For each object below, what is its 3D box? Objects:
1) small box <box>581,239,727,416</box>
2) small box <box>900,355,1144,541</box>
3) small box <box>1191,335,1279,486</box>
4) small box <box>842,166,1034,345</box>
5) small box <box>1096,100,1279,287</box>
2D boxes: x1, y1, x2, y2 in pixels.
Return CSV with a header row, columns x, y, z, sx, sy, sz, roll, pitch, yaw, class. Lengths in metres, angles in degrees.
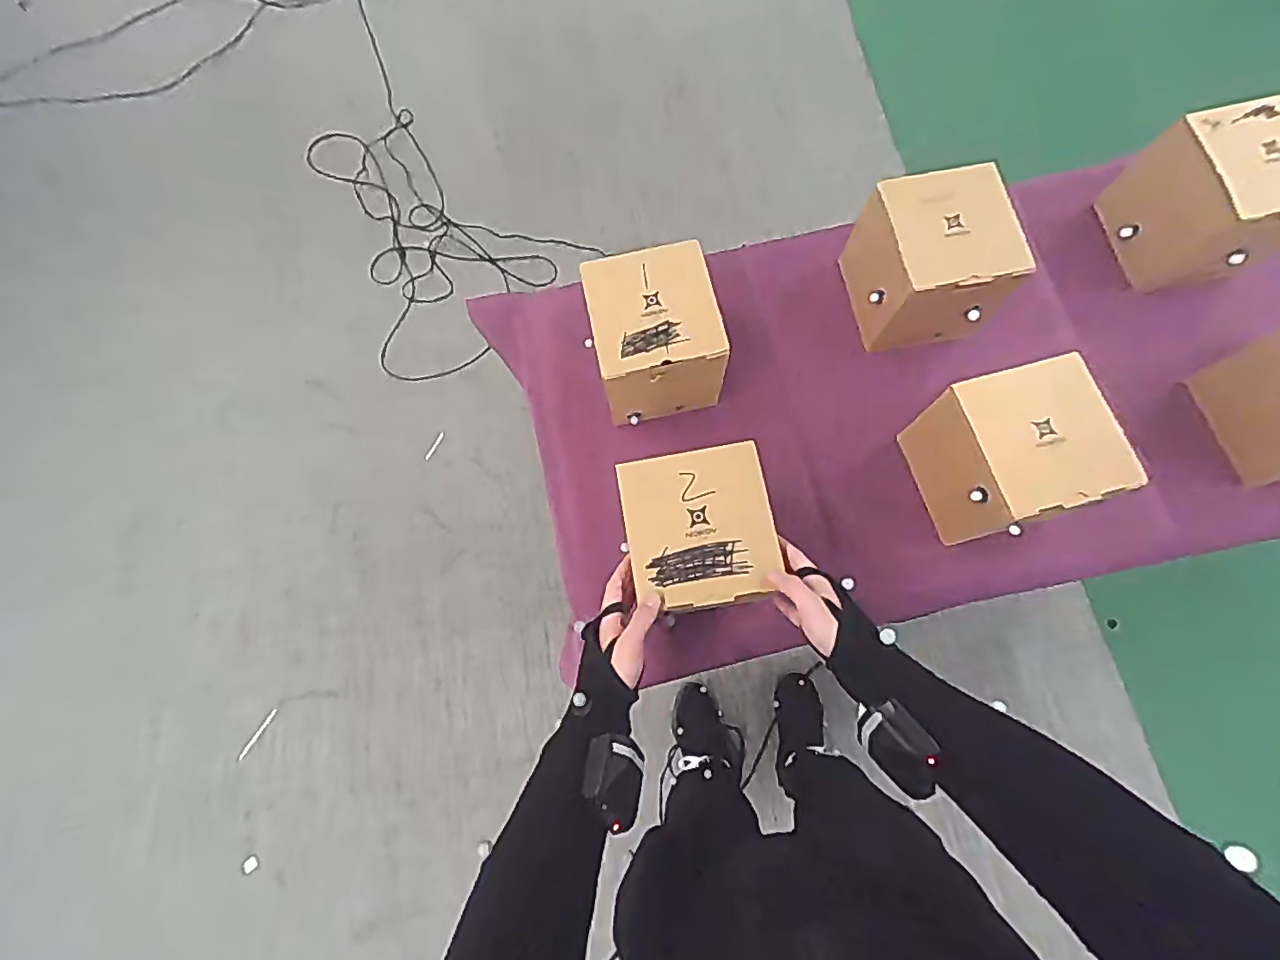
x,y,z,sx,sy,sz,roll,pitch,yaw,class
0.020,-0.205,0.778,0.168,0.176,0.179,-12,74,-1,small box
0.476,-0.033,0.711,0.168,0.176,0.179,-14,74,-2,small box
0.901,-0.109,0.706,0.168,0.176,0.179,-13,74,1,small box
0.418,-0.313,0.791,0.168,0.176,0.179,-9,74,0,small box
0.834,-0.405,0.792,0.168,0.176,0.179,-11,77,0,small box
